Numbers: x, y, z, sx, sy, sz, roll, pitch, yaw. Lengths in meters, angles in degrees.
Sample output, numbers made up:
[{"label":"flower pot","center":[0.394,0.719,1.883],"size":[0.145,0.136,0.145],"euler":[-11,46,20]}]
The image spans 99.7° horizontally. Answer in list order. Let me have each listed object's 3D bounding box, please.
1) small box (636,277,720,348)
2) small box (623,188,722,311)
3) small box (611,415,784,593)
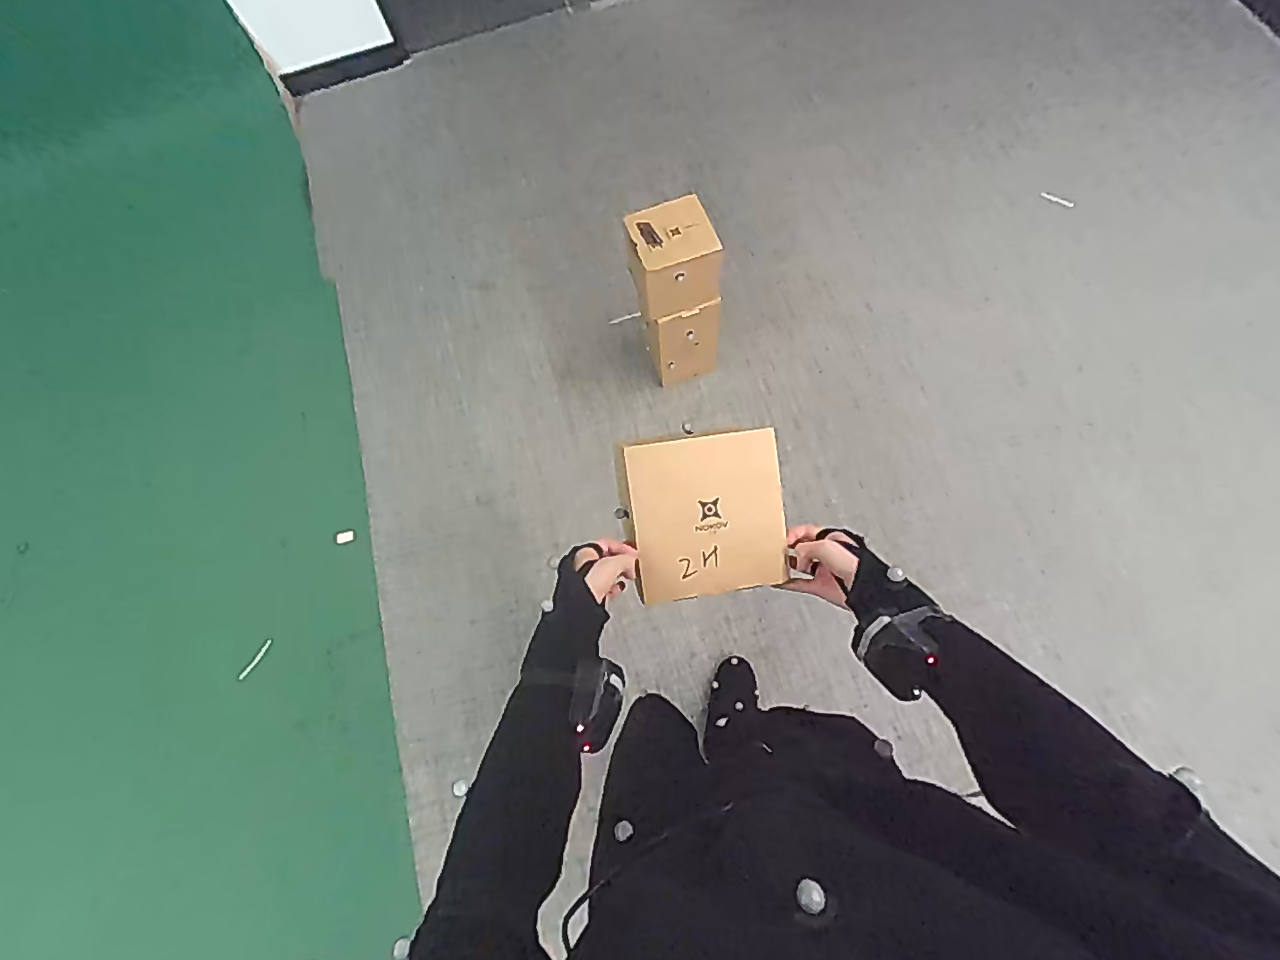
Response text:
[{"label":"small box","center":[0.096,-0.460,1.383],"size":[0.168,0.176,0.179],"euler":[-19,72,-3]},{"label":"small box","center":[0.074,-0.515,1.229],"size":[0.179,0.176,0.168],"euler":[-19,71,-3]},{"label":"small box","center":[0.059,0.018,0.654],"size":[0.168,0.176,0.179],"euler":[-8,97,-6]}]
